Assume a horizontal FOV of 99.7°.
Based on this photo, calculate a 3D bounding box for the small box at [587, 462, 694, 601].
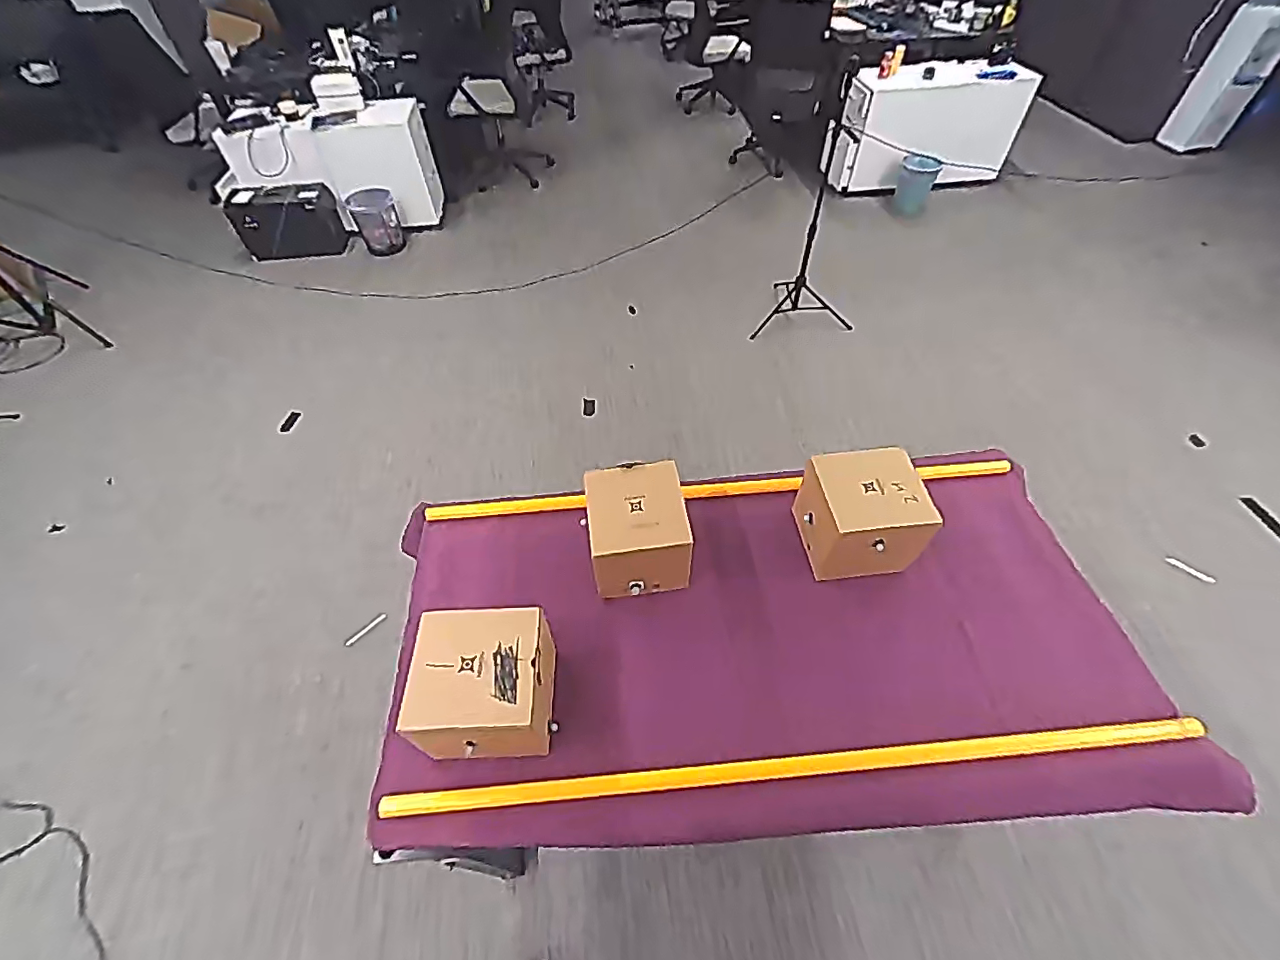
[{"bbox_3d":[-0.003,0.093,0.968,0.168,0.176,0.179,-8,52,-3],"label":"small box"}]

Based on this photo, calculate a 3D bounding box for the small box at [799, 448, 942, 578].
[{"bbox_3d":[0.398,0.064,0.977,0.179,0.176,0.168,-5,52,-3],"label":"small box"}]

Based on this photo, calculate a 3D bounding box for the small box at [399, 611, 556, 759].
[{"bbox_3d":[-0.222,0.305,0.799,0.179,0.176,0.168,-2,51,-1],"label":"small box"}]
